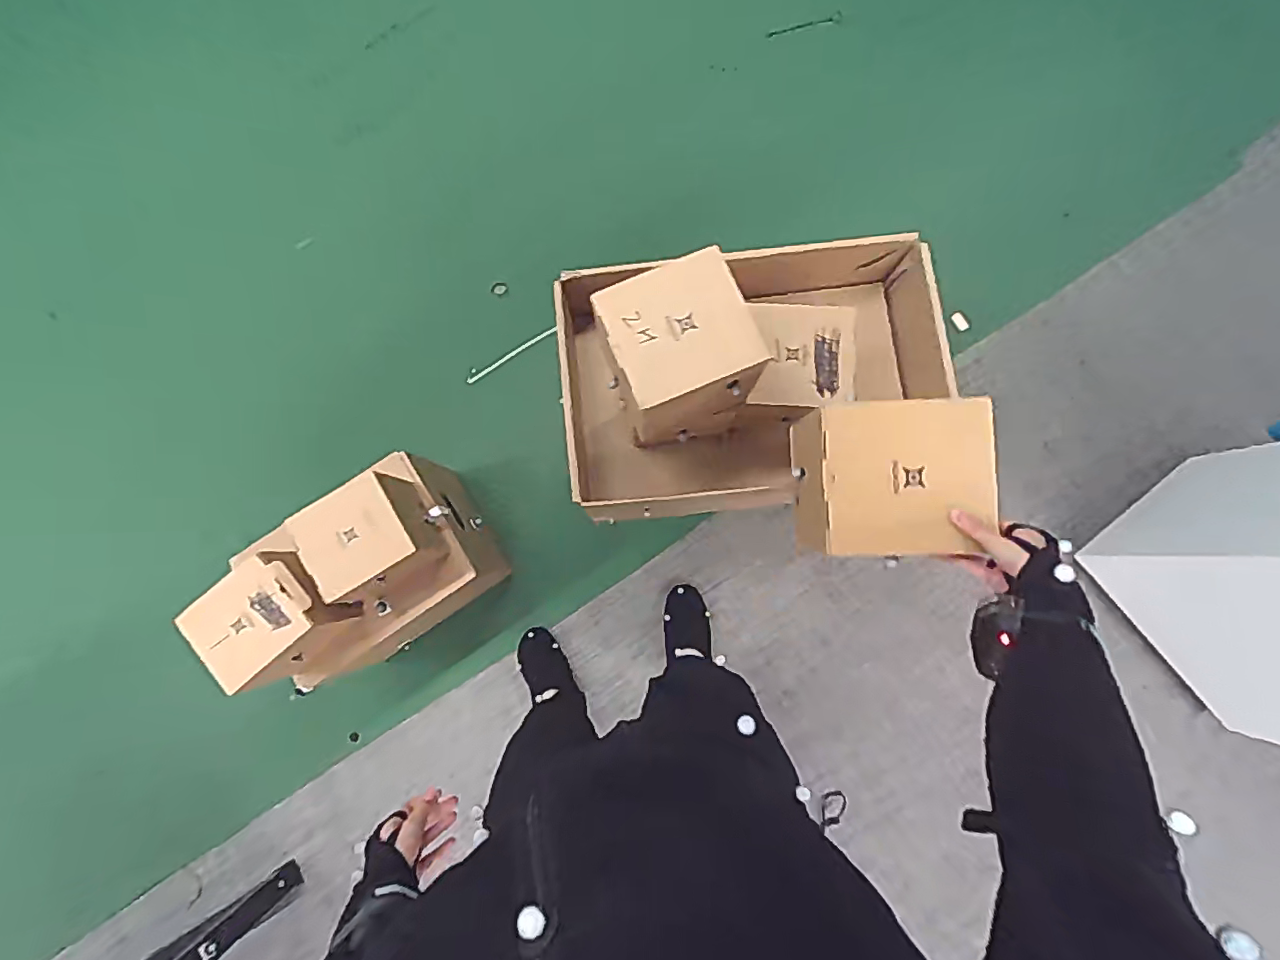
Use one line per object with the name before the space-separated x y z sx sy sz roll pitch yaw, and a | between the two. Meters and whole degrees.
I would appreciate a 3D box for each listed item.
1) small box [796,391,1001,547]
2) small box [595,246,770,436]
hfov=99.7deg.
small box | 0.294 -0.009 0.649 0.179 0.176 0.168 -1 87 6
small box | 0.052 -0.180 0.746 0.179 0.176 0.168 -22 81 -2
